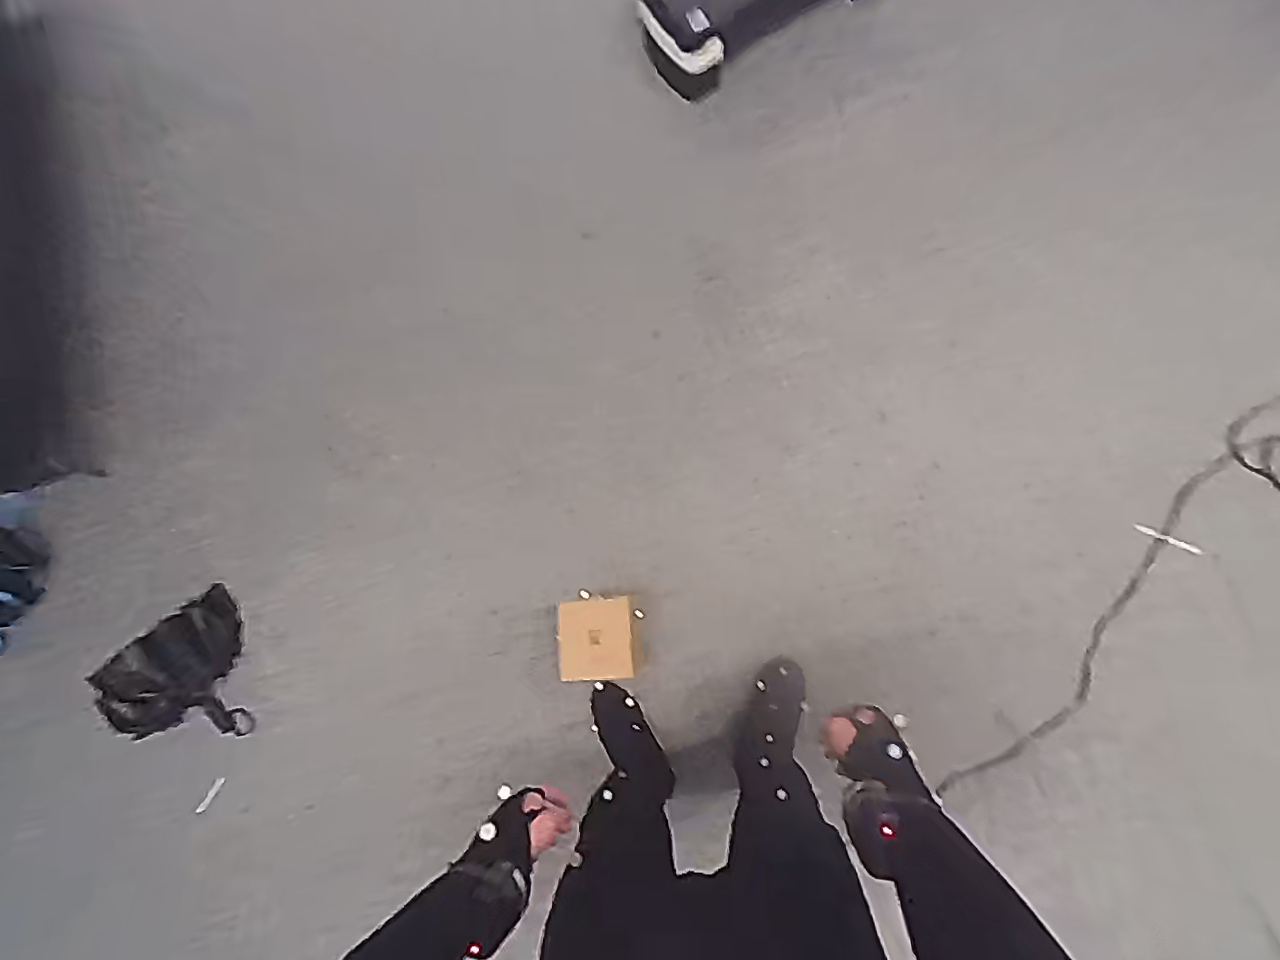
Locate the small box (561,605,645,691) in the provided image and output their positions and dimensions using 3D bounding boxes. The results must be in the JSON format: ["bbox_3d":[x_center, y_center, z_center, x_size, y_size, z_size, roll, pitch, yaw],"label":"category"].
[{"bbox_3d":[-0.084,0.391,1.263,0.168,0.176,0.179,-6,74,7],"label":"small box"}]
